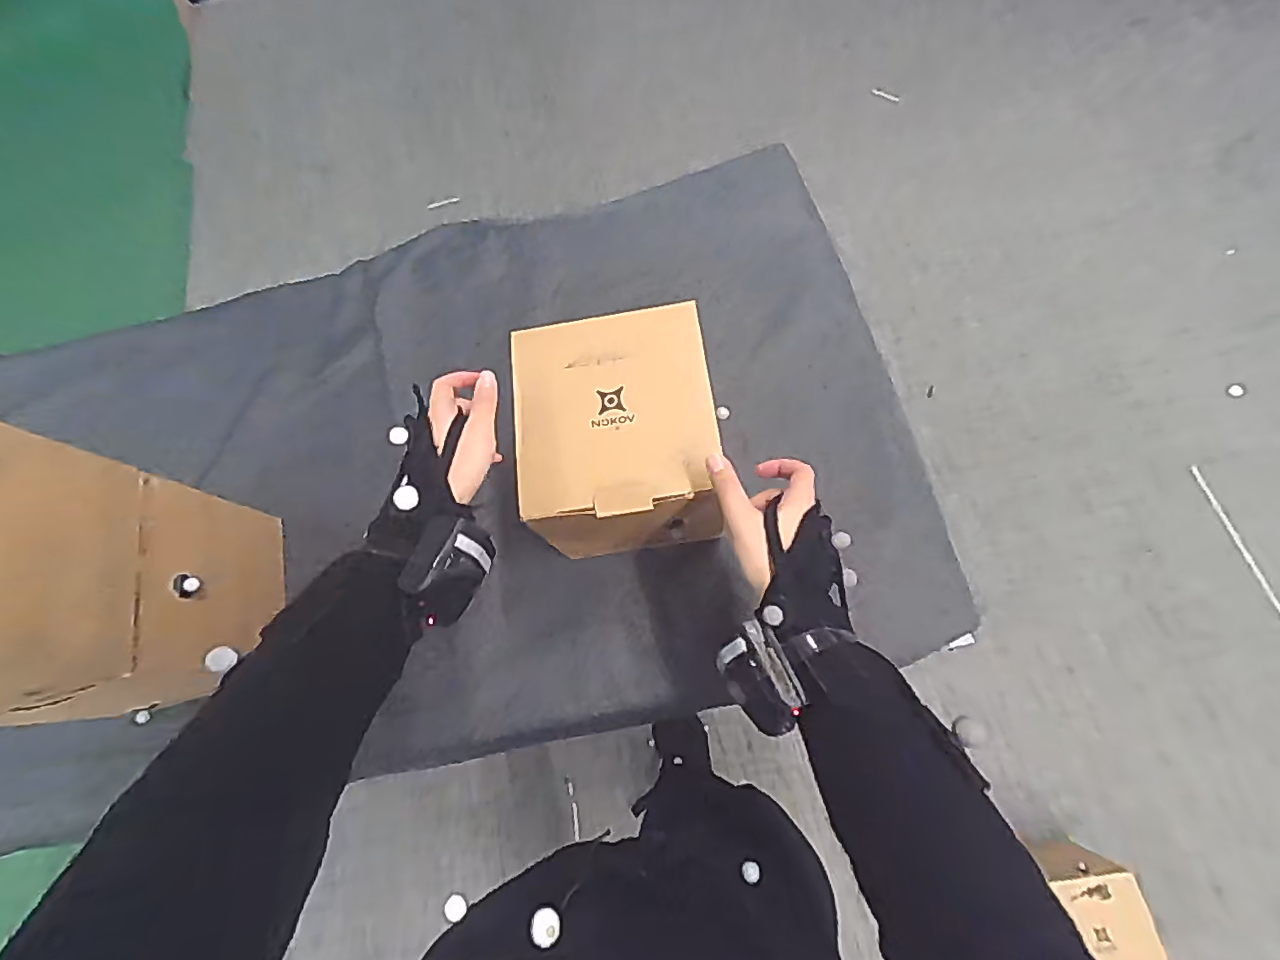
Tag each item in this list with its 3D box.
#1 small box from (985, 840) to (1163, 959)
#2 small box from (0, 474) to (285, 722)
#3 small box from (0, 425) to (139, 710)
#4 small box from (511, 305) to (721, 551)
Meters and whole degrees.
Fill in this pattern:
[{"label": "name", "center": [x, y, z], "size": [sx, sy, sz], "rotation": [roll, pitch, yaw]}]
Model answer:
[{"label": "small box", "center": [0.740, 0.756, 0.930], "size": [0.168, 0.176, 0.179], "rotation": [-10, 72, 4]}, {"label": "small box", "center": [-0.478, 0.119, 0.524], "size": [0.168, 0.176, 0.179], "rotation": [-16, 69, 1]}, {"label": "small box", "center": [-0.497, 0.064, 0.370], "size": [0.168, 0.176, 0.179], "rotation": [-19, 70, 1]}, {"label": "small box", "center": [-0.016, -0.034, 0.520], "size": [0.168, 0.176, 0.179], "rotation": [-8, 70, 3]}]
